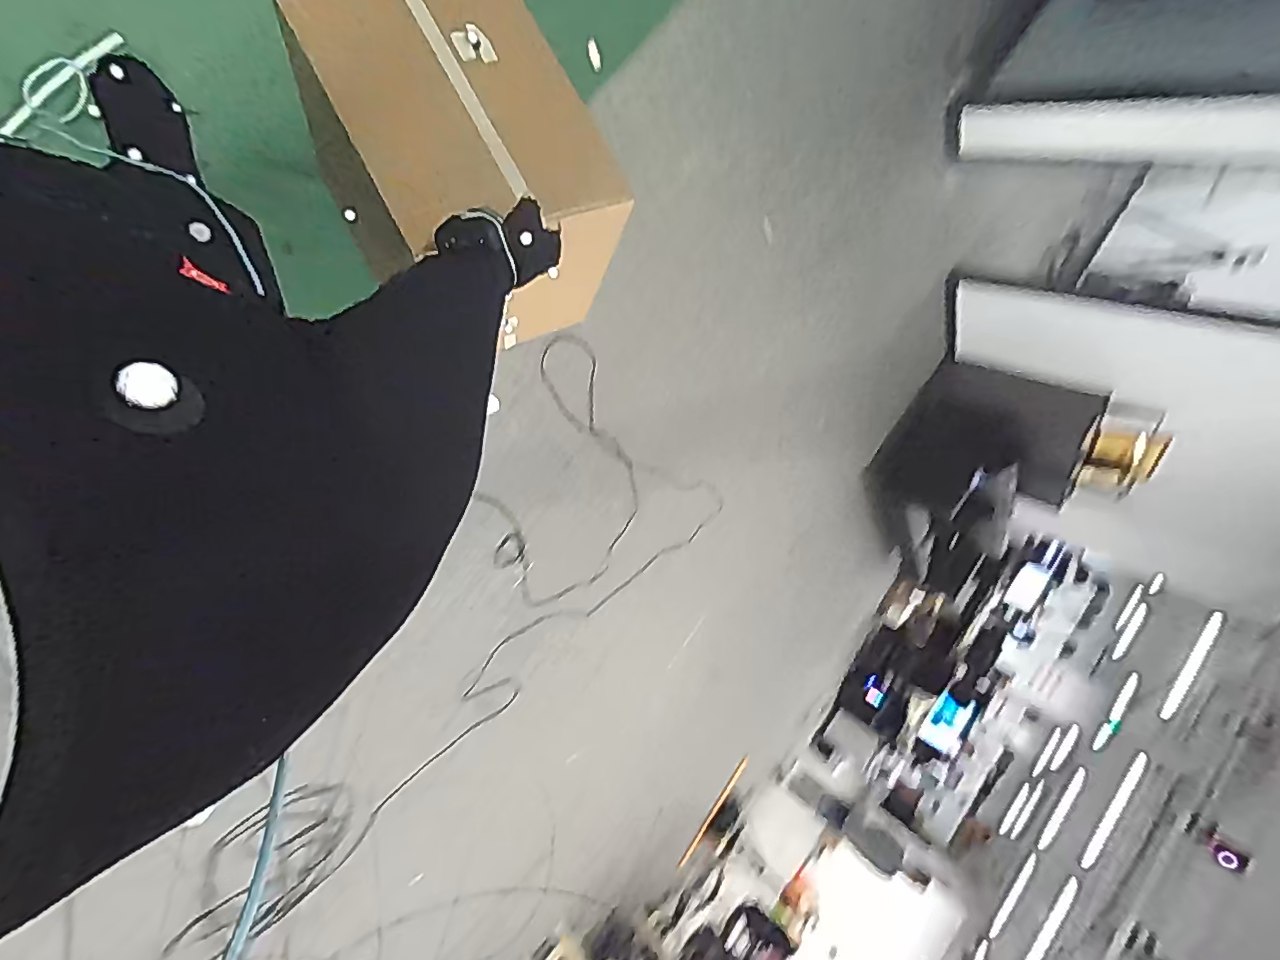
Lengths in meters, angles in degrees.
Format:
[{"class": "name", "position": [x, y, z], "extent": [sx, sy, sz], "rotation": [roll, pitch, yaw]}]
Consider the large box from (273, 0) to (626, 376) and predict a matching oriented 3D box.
[{"class": "large box", "position": [-0.282, -0.443, 0.851], "extent": [0.320, 0.408, 0.320], "rotation": [-26, 174, -24]}]
